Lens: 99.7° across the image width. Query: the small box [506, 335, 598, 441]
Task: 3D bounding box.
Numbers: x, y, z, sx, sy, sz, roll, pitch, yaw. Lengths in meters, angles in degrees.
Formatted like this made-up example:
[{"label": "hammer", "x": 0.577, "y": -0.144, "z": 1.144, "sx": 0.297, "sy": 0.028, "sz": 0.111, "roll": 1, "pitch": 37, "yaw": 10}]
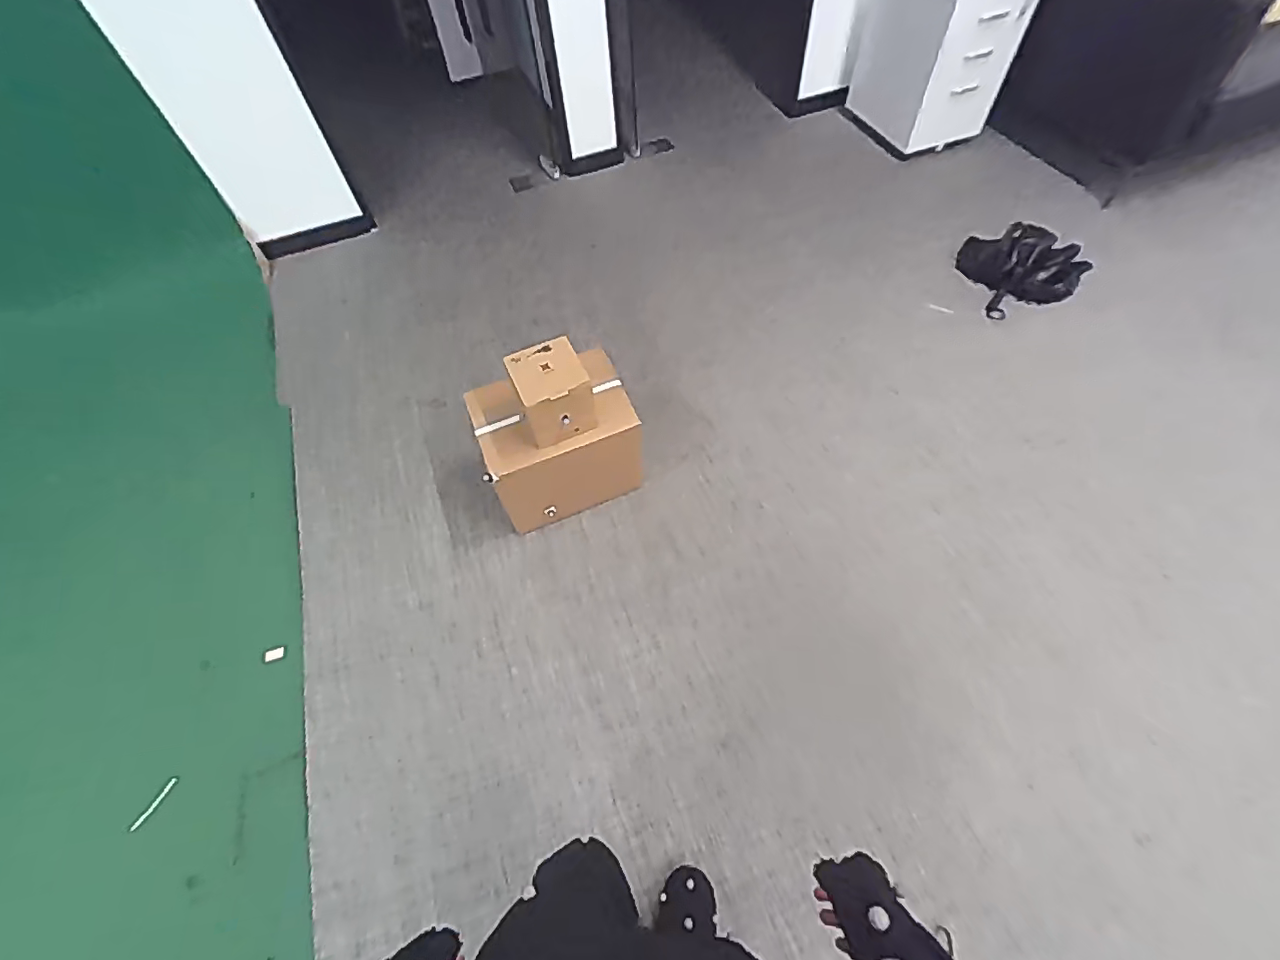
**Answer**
[{"label": "small box", "x": -0.213, "y": -0.220, "z": 1.345, "sx": 0.168, "sy": 0.176, "sz": 0.179, "roll": -22, "pitch": 61, "yaw": -10}]
